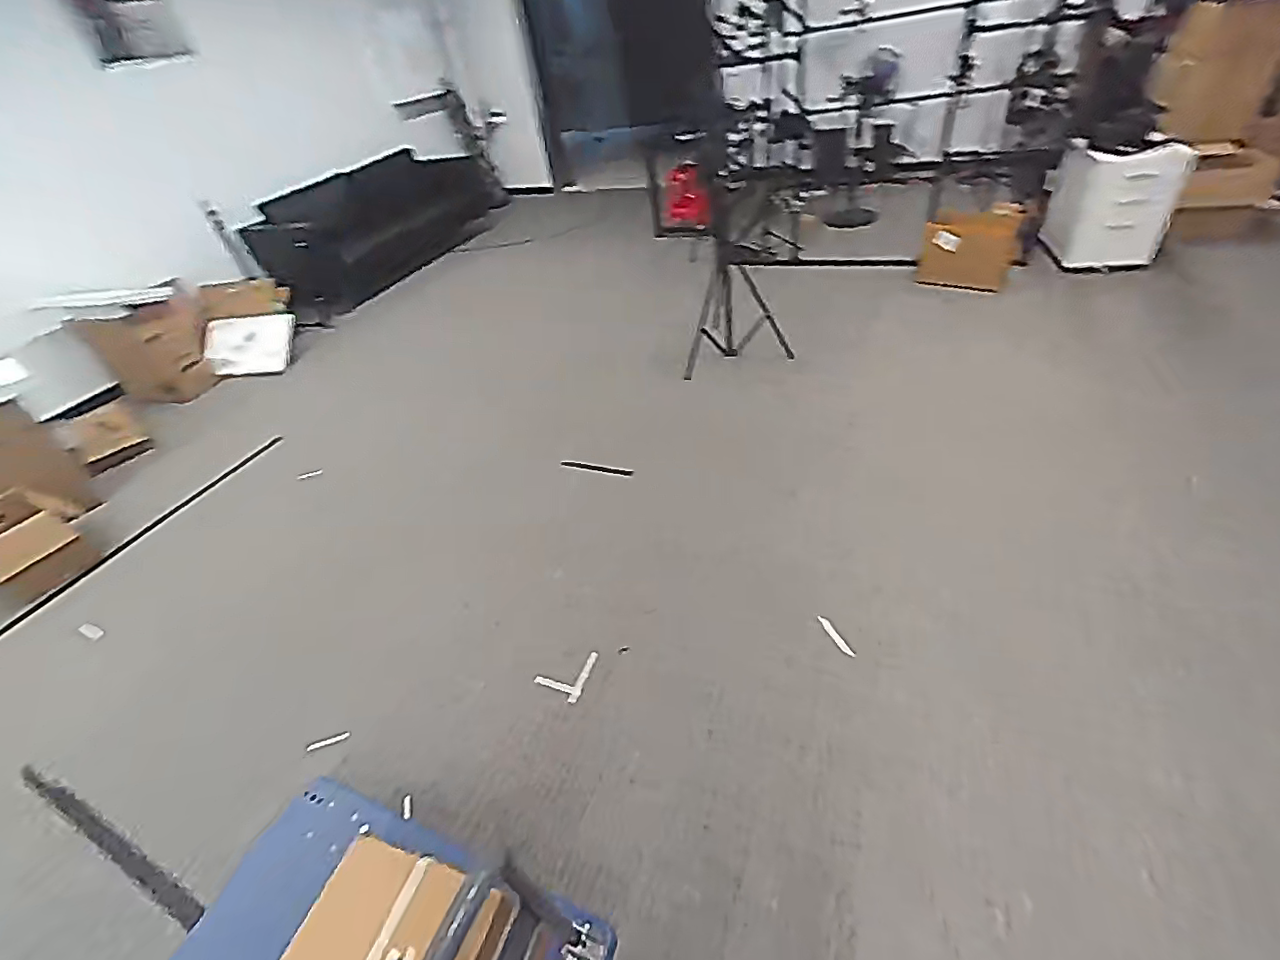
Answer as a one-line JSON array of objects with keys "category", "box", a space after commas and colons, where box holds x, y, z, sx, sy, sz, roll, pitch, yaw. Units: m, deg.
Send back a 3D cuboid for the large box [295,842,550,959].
[{"category": "large box", "box": [-0.397, 0.914, 0.886, 0.320, 0.320, 0.408, 7, 41, 19]}]
